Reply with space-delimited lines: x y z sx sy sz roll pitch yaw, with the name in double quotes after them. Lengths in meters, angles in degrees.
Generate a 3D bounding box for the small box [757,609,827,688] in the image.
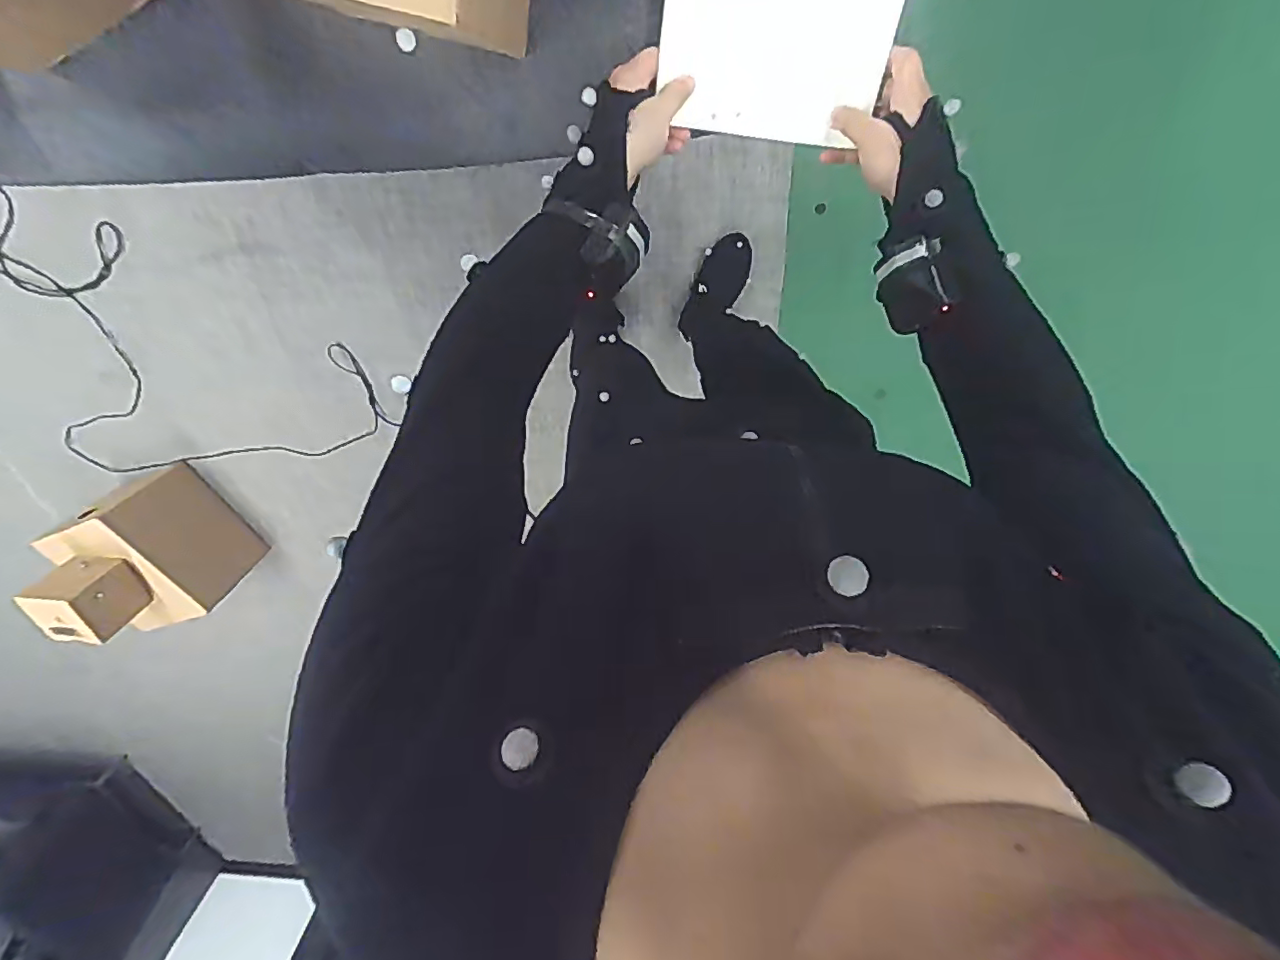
0.486 0.546 1.763 0.179 0.176 0.168 10 124 1 "small box"

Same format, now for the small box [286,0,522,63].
-0.182 -0.431 0.386 0.168 0.176 0.179 13 123 -1 "small box"
